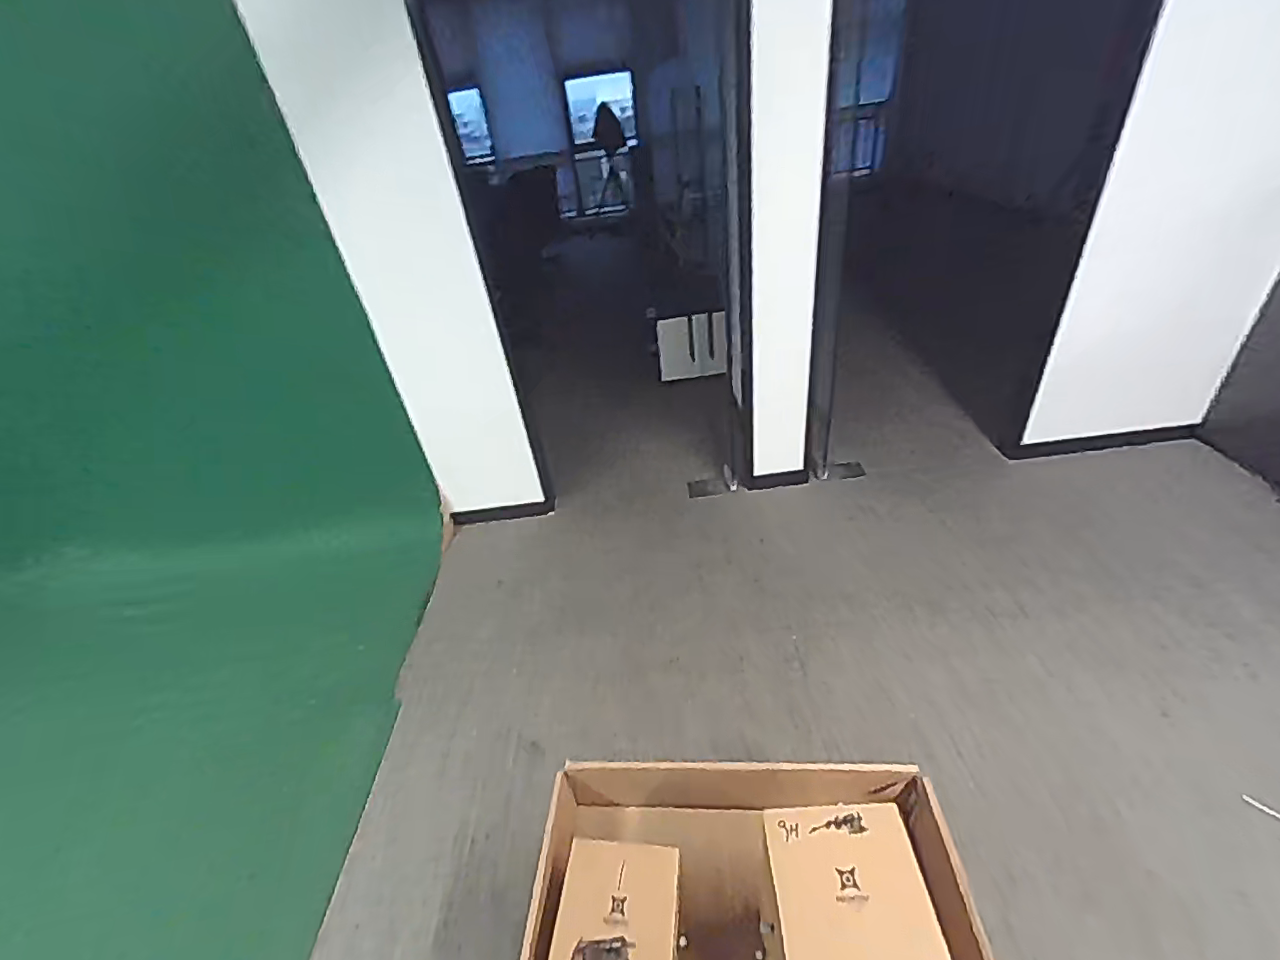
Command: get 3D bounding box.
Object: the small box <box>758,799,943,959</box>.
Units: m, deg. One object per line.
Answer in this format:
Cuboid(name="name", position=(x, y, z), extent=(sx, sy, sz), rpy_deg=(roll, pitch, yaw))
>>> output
Cuboid(name="small box", position=(0.239, 0.517, 0.654), extent=(0.168, 0.176, 0.179), rpy_deg=(-5, 37, 5))
